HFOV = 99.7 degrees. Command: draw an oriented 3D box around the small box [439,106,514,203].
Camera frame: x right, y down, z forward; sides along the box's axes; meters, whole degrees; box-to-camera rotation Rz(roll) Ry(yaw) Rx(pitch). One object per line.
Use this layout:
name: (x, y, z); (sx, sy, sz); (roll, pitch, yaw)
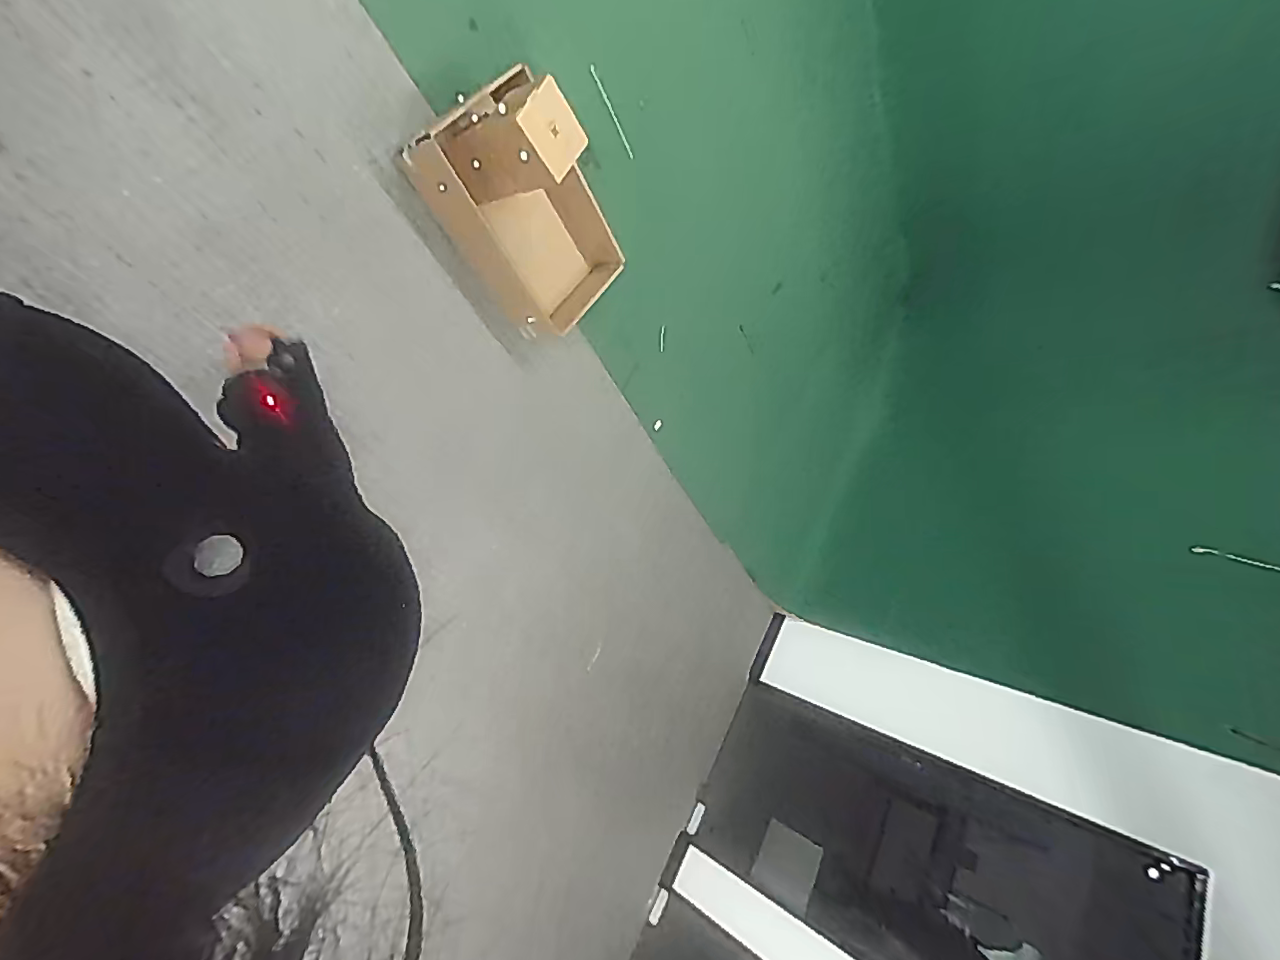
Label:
small box: (-0.410, -0.892, 1.479); (0.168, 0.176, 0.179); (-56, 135, -25)

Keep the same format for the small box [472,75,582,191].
small box: (-0.288, -0.869, 1.372); (0.179, 0.176, 0.168); (47, 65, -47)
